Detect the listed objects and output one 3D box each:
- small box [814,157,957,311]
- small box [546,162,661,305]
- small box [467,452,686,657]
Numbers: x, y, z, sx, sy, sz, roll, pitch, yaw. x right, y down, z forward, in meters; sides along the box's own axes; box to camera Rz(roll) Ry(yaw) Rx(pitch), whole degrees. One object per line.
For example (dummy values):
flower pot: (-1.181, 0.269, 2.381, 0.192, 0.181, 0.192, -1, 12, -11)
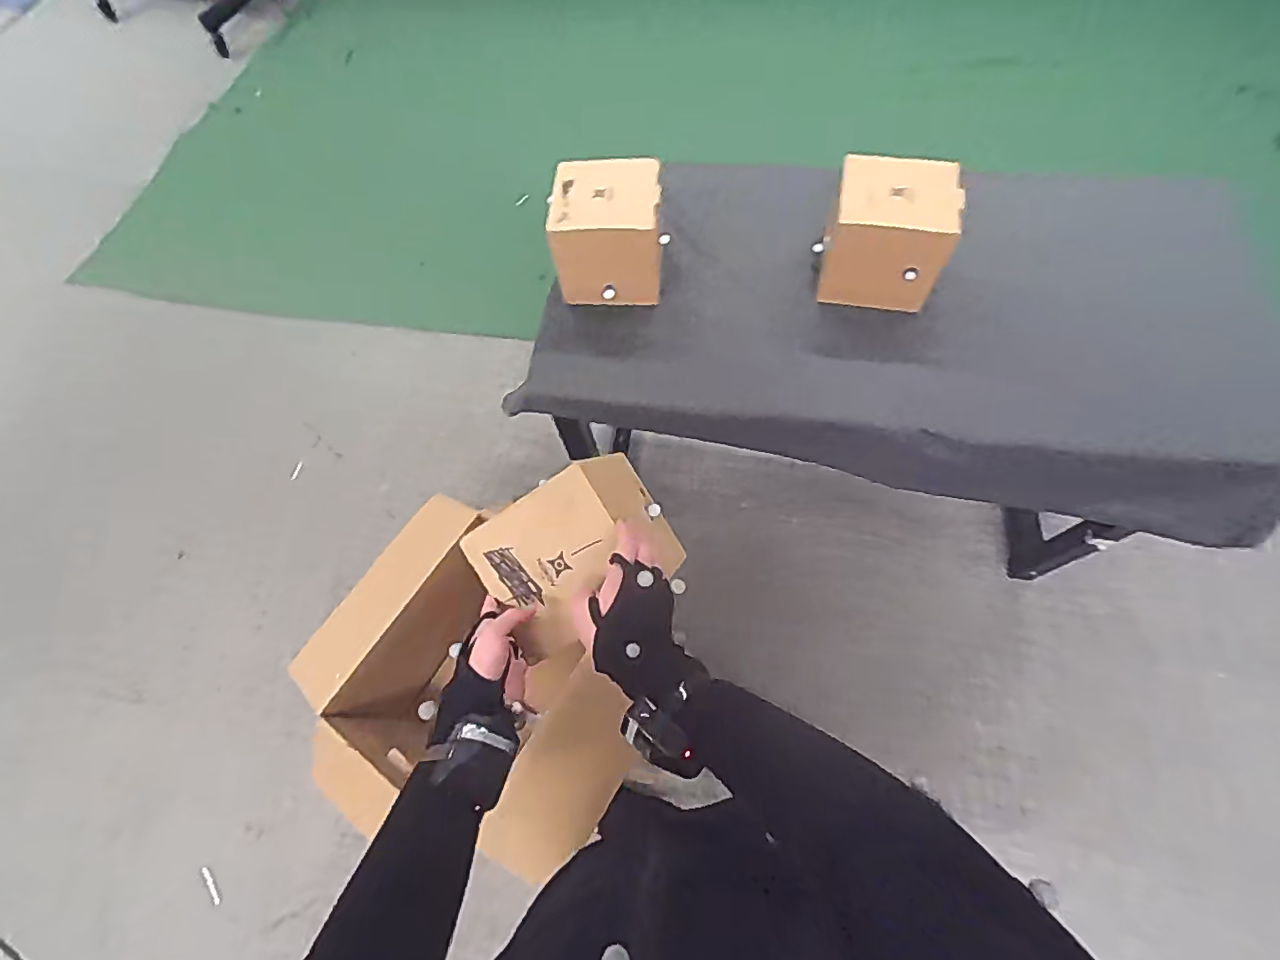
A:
small box: (0.406, -0.408, 0.913, 0.179, 0.176, 0.168, 9, 65, 10)
small box: (-0.053, -0.429, 0.958, 0.179, 0.176, 0.168, 2, 65, 5)
small box: (-0.065, 0.080, 0.659, 0.179, 0.176, 0.168, -32, 87, 16)
